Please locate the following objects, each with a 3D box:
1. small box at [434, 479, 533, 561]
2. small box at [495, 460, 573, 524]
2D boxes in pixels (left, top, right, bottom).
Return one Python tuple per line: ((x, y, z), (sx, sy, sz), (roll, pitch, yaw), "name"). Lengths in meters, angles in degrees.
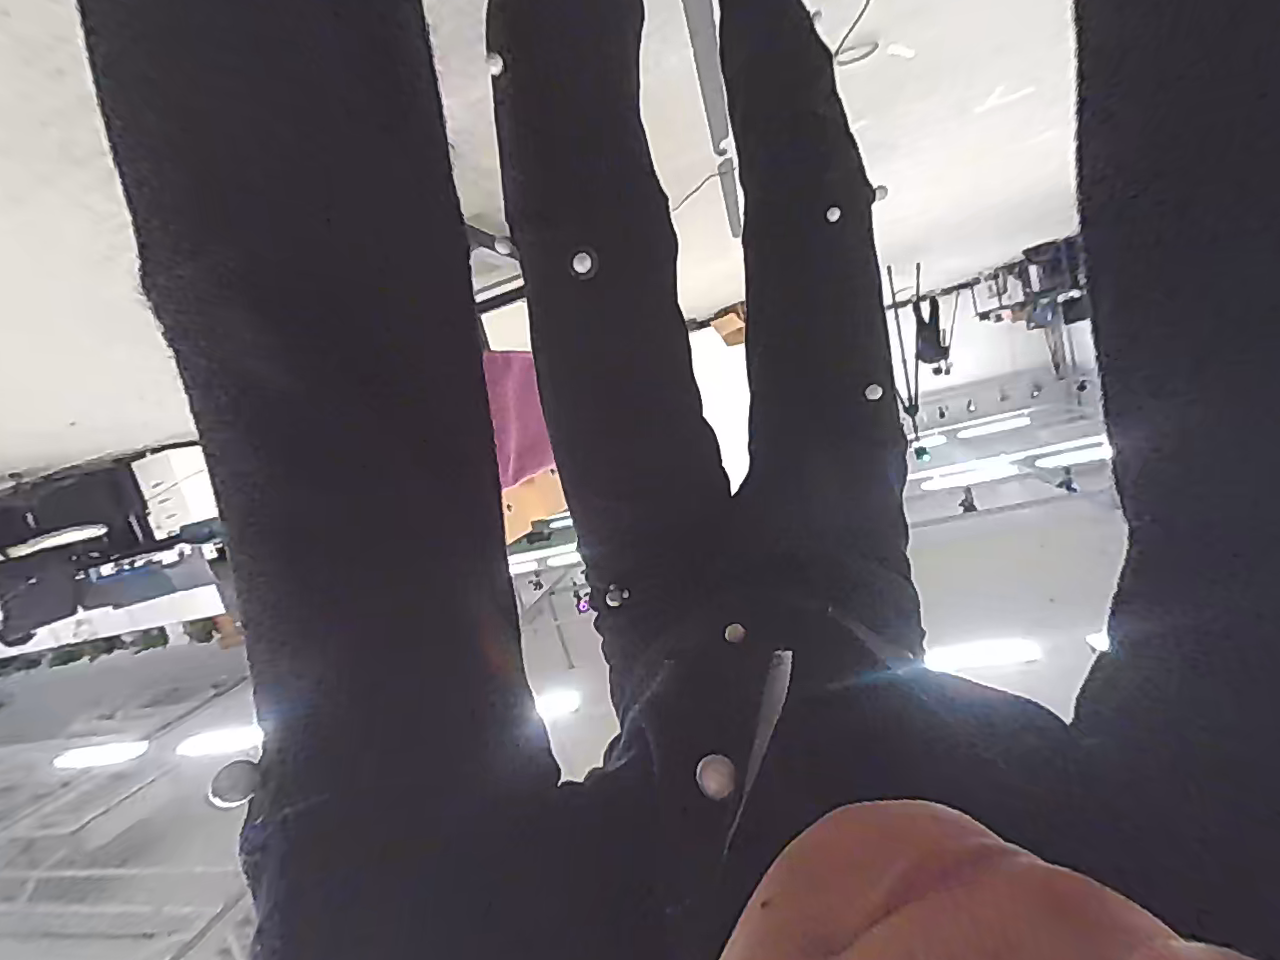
((-0.429, 0.103, 1.483), (0.179, 0.176, 0.168), (-12, -171, 23), "small box")
((-0.345, 0.040, 1.739), (0.179, 0.176, 0.168), (-12, -170, 26), "small box")
